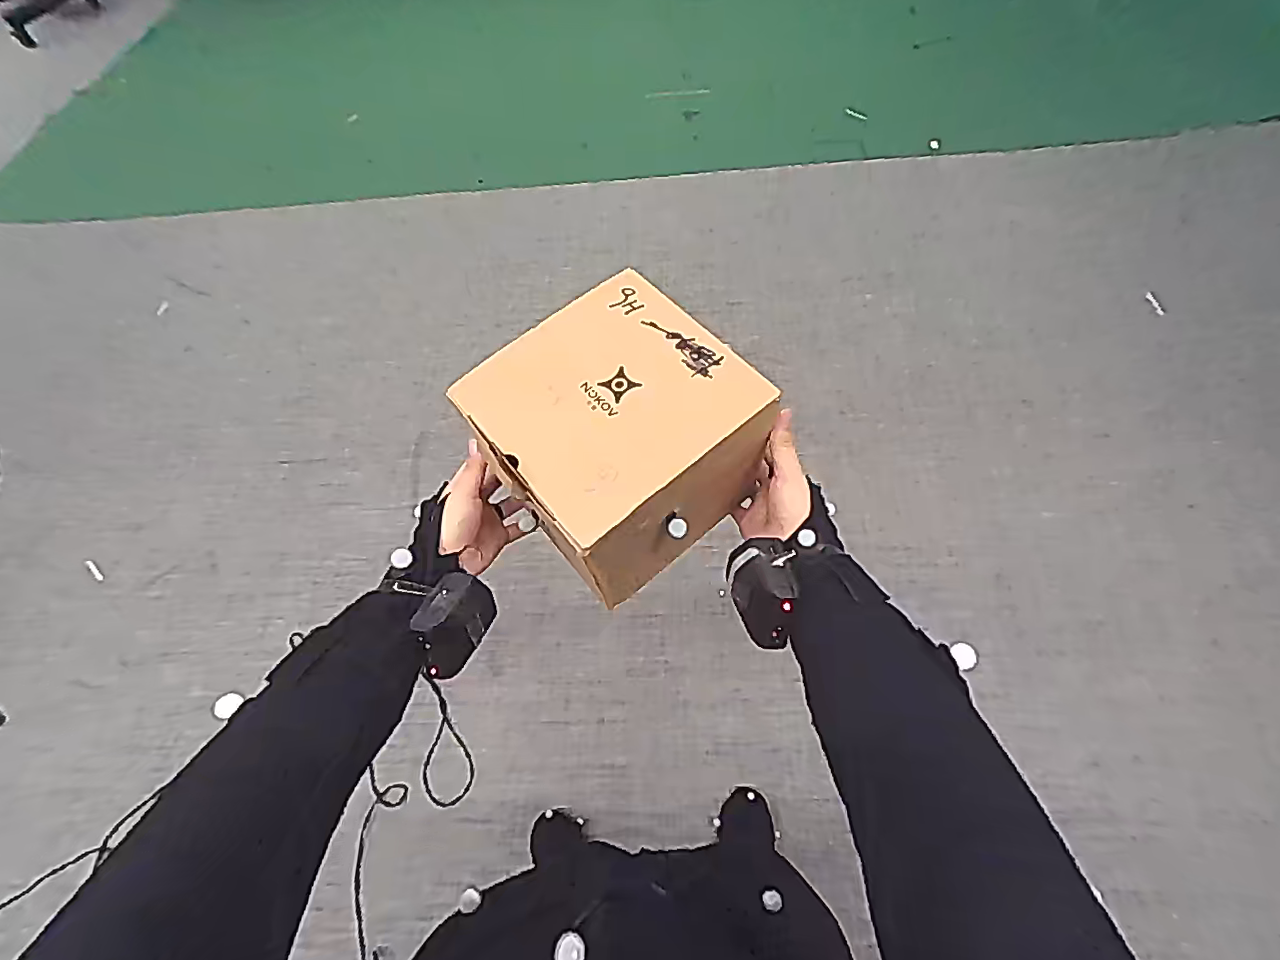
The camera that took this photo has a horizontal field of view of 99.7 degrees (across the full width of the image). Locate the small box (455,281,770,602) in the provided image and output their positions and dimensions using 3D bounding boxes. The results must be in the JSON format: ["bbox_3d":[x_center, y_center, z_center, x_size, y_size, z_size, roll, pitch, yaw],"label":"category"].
[{"bbox_3d":[-0.016,-0.022,0.460,0.179,0.176,0.168,-38,68,-13],"label":"small box"}]
